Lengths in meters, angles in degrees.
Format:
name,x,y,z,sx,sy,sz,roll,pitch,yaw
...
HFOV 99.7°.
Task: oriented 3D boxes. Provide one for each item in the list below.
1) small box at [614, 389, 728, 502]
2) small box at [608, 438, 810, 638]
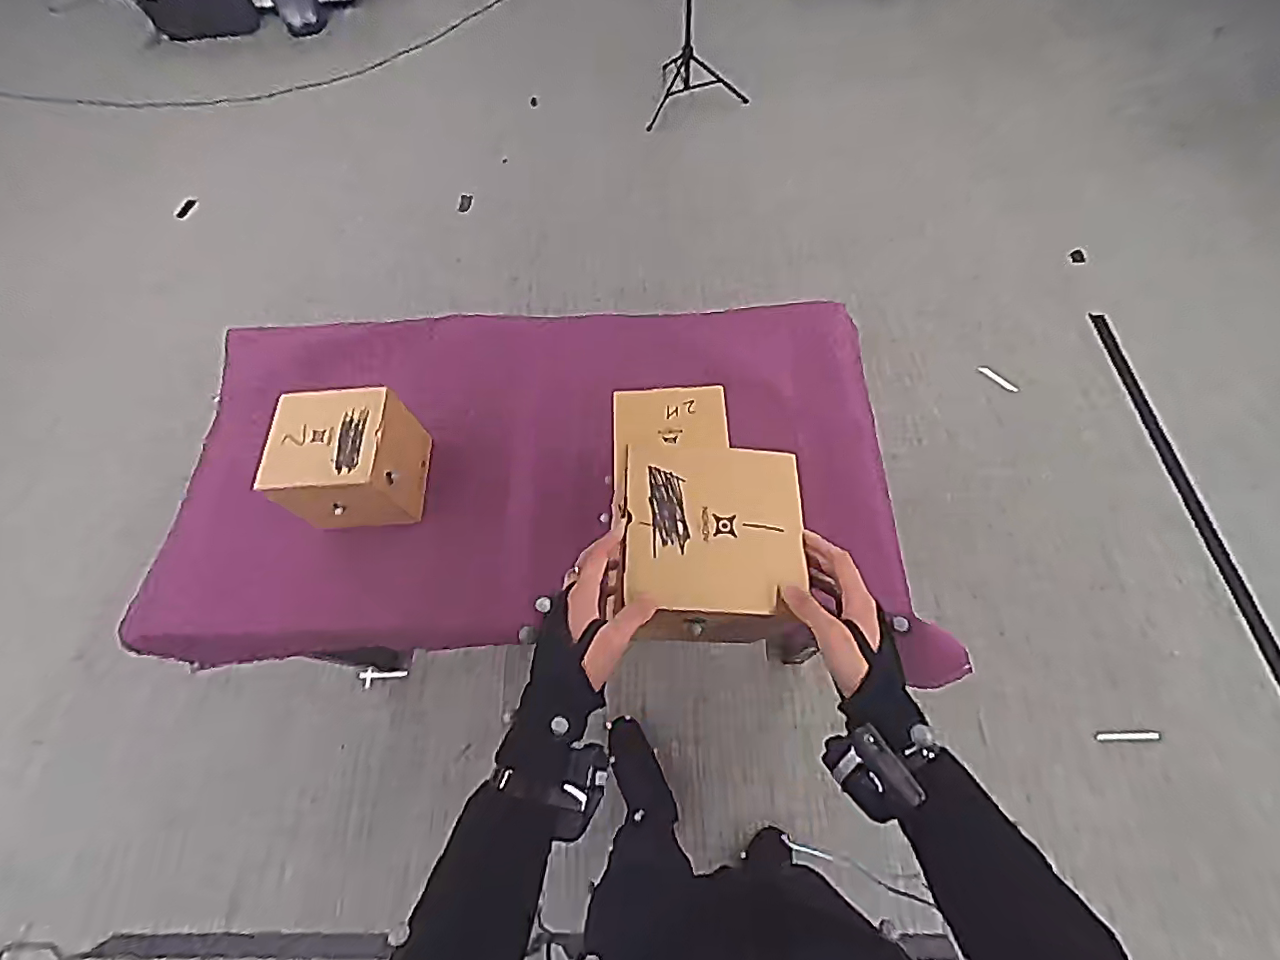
name,x,y,z,sx,sy,sz,roll,pitch,yaw
small box,0.050,-0.020,0.846,0.168,0.176,0.179,-2,65,2
small box,0.060,0.072,0.581,0.179,0.176,0.168,5,65,-7
